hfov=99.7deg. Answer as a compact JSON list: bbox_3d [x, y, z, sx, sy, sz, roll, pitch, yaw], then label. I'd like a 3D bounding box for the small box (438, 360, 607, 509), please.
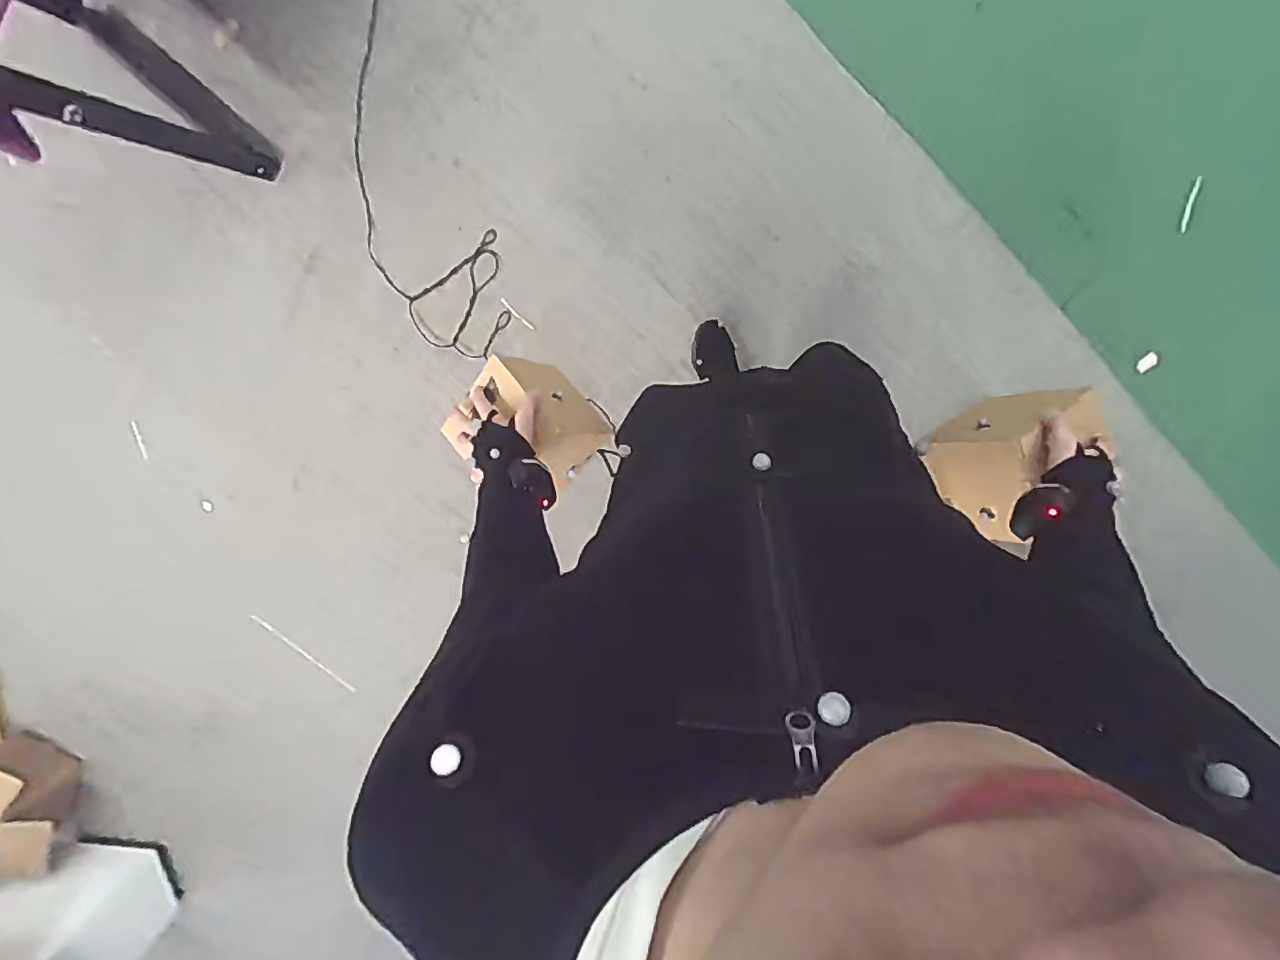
[{"bbox_3d":[-0.191,-0.074,0.906,0.179,0.176,0.168,47,112,15],"label":"small box"}]

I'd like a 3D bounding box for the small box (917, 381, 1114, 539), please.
[{"bbox_3d":[0.552,-0.030,0.817,0.179,0.176,0.168,-29,102,-17],"label":"small box"}]
